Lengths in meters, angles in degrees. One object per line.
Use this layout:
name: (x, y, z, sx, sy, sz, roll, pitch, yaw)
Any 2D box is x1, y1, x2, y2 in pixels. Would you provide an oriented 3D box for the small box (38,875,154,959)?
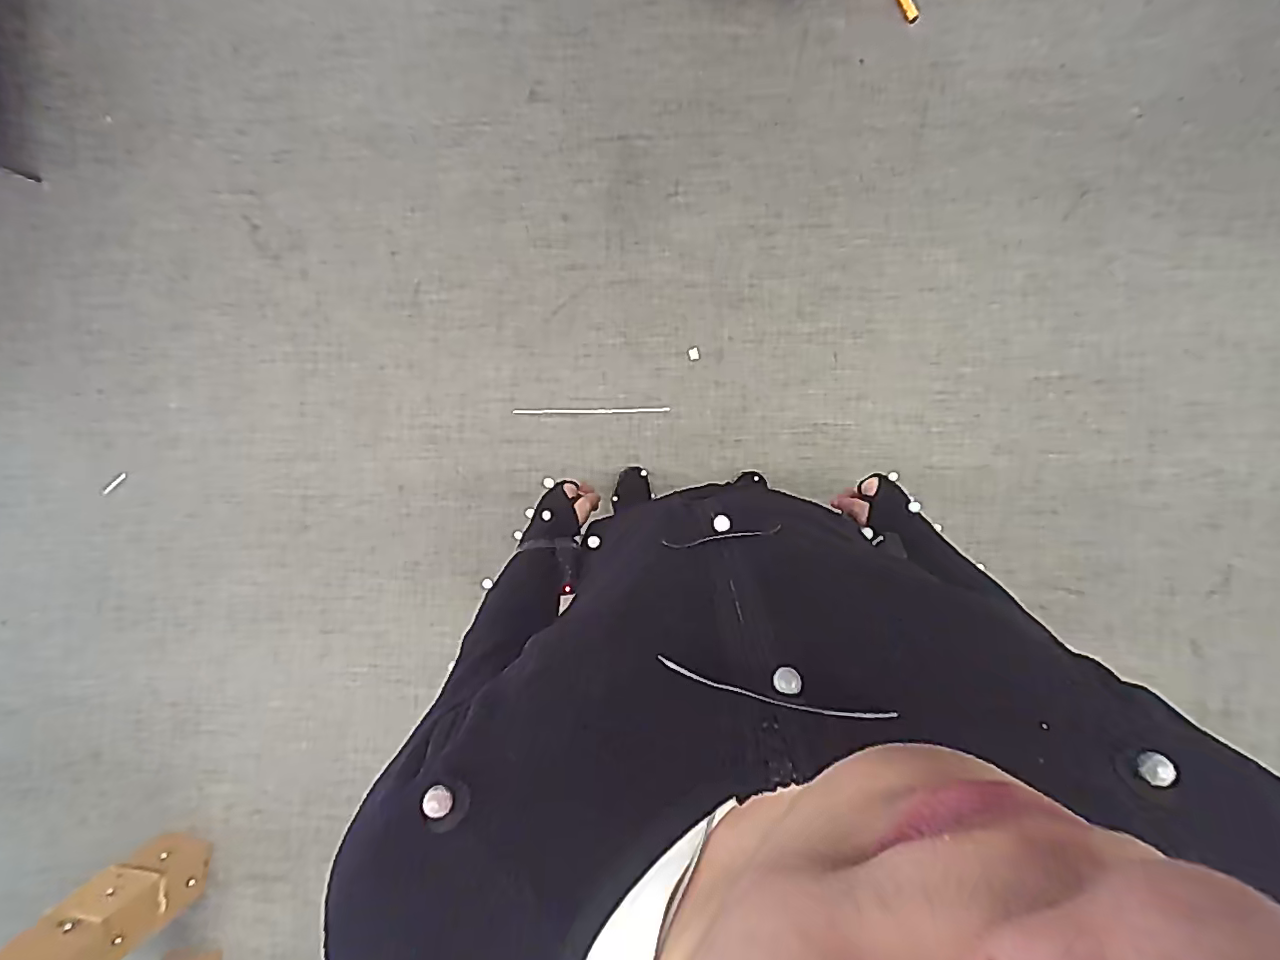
small box: (-1.495, 1.238, 1.490, 0.168, 0.176, 0.179, 6, 92, 3)

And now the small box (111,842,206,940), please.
small box: (-1.479, 1.246, 1.652, 0.179, 0.176, 0.168, 7, 90, 2)

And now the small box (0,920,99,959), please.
small box: (-1.494, 1.246, 1.327, 0.168, 0.176, 0.179, 10, 91, 2)
